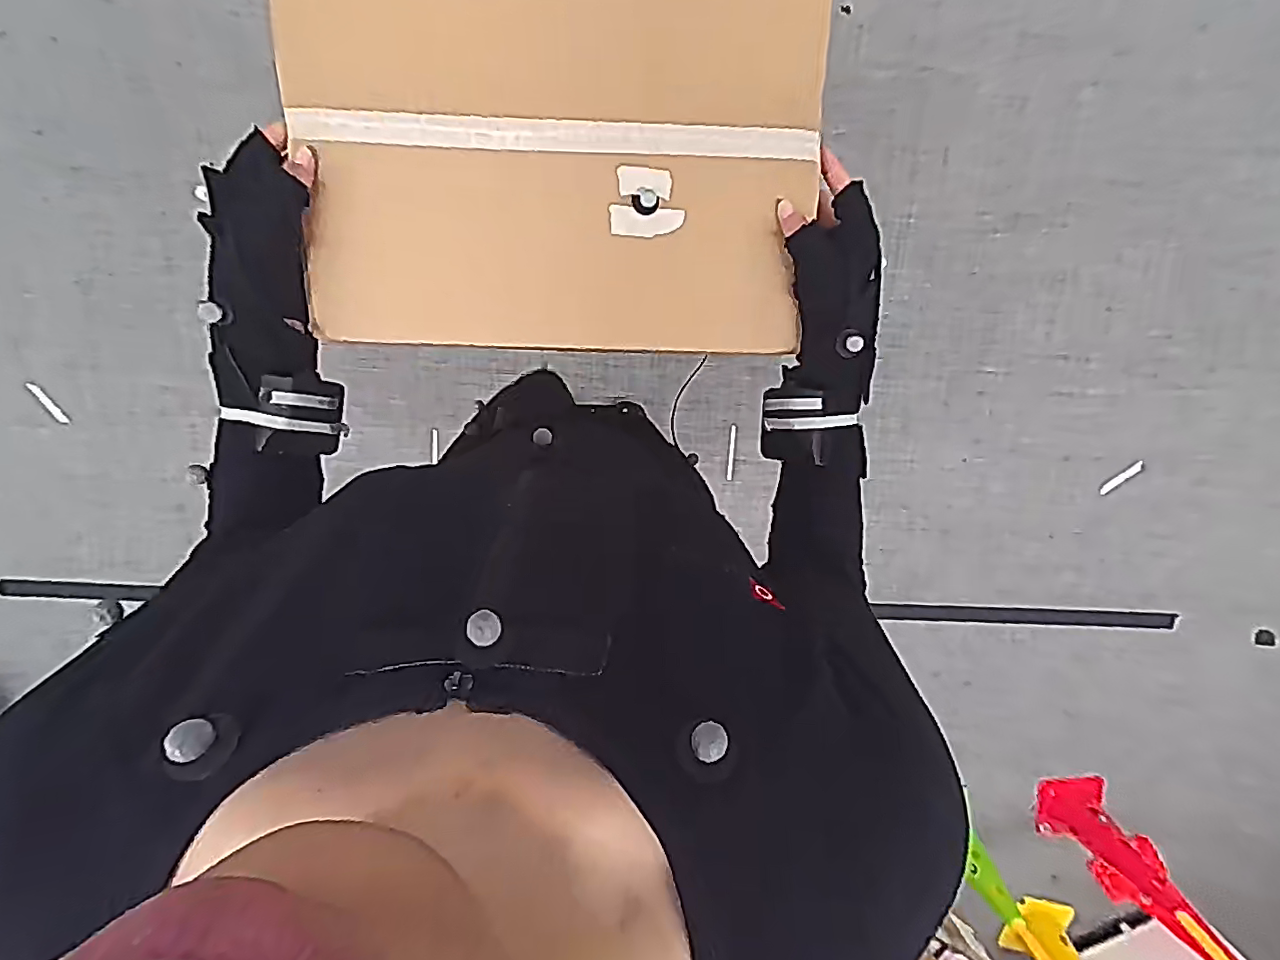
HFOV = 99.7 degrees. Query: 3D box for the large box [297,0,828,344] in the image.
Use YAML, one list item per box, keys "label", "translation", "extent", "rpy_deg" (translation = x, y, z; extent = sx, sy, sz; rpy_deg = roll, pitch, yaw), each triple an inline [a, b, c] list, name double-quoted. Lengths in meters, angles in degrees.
- label: "large box"
  translation: [-0.064, -0.305, 0.570]
  extent: [0.408, 0.320, 0.320]
  rpy_deg: [0, 104, -4]
